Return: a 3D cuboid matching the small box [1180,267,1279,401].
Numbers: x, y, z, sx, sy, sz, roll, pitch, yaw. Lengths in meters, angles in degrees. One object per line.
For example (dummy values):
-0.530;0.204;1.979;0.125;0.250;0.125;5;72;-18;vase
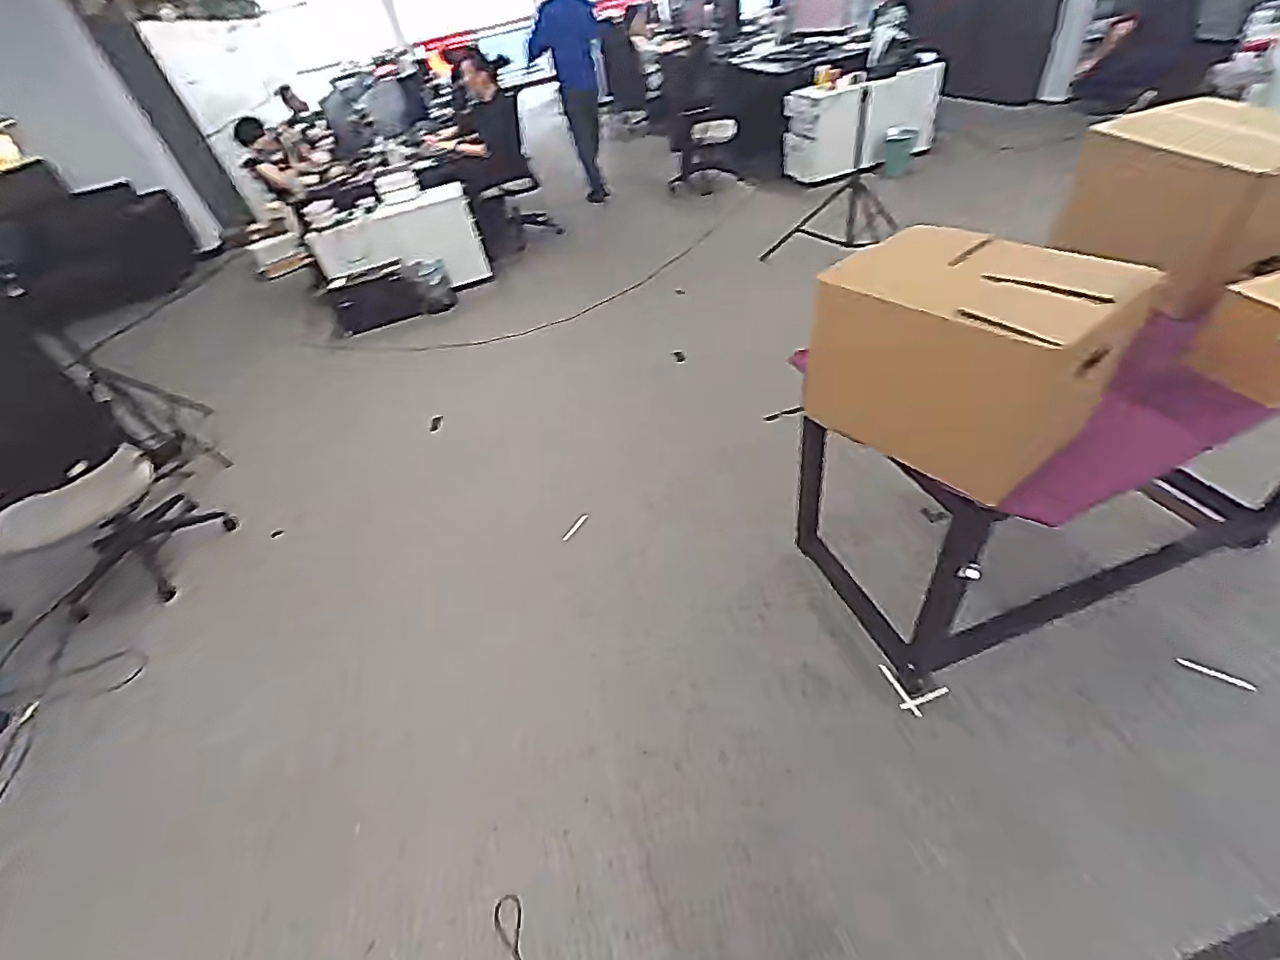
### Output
1.189;-0.275;1.007;0.168;0.176;0.179;-16;44;-3;small box
